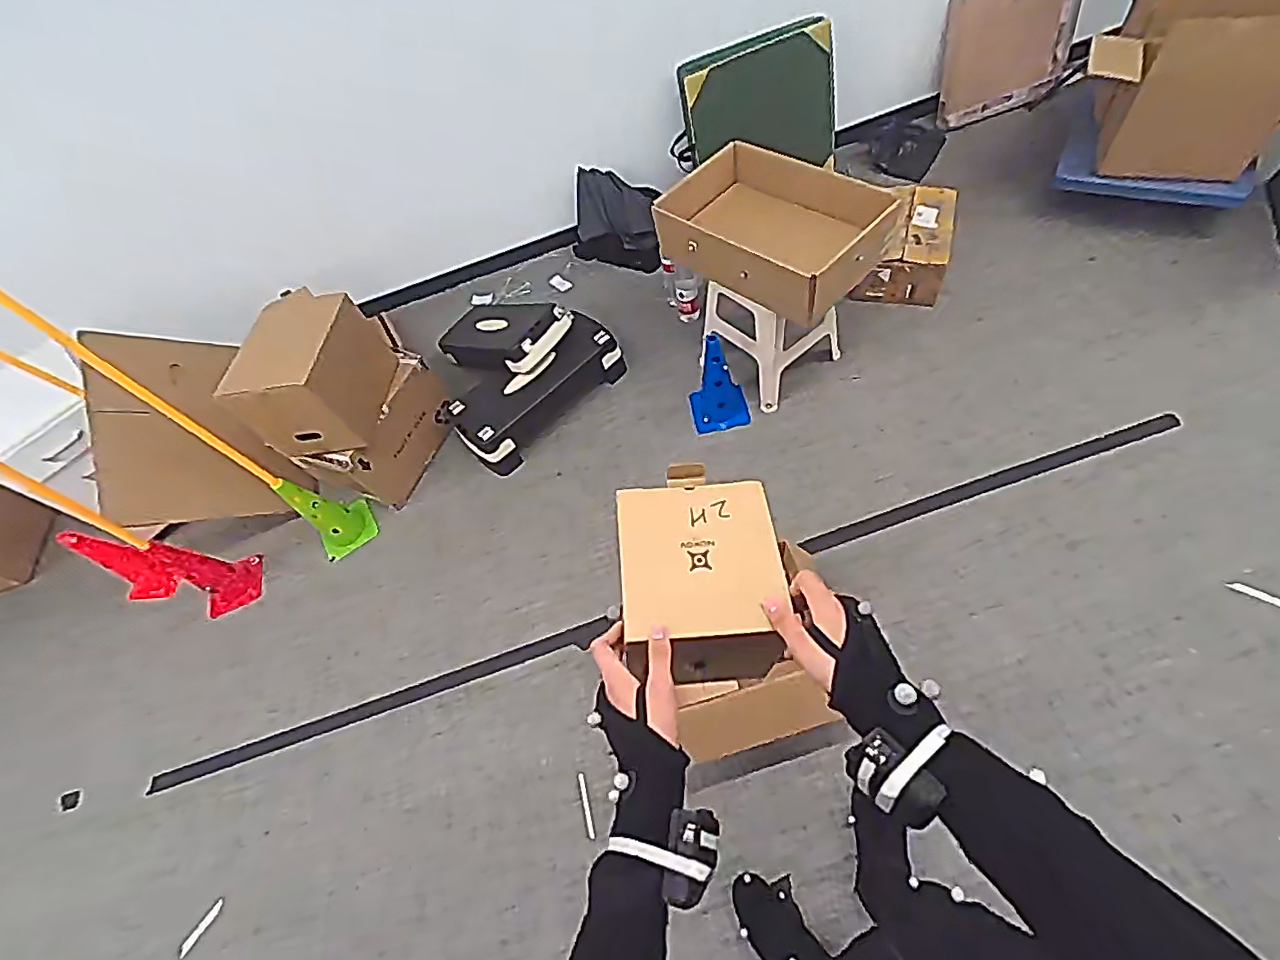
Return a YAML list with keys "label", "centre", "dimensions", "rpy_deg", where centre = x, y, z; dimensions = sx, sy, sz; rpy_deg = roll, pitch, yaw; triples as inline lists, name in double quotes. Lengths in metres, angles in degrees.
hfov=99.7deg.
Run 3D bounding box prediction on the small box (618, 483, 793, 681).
- label: "small box"
  centre: [0.063, 0.125, 0.627]
  dimensions: [0.168, 0.176, 0.179]
  rpy_deg: [-3, 54, -2]
